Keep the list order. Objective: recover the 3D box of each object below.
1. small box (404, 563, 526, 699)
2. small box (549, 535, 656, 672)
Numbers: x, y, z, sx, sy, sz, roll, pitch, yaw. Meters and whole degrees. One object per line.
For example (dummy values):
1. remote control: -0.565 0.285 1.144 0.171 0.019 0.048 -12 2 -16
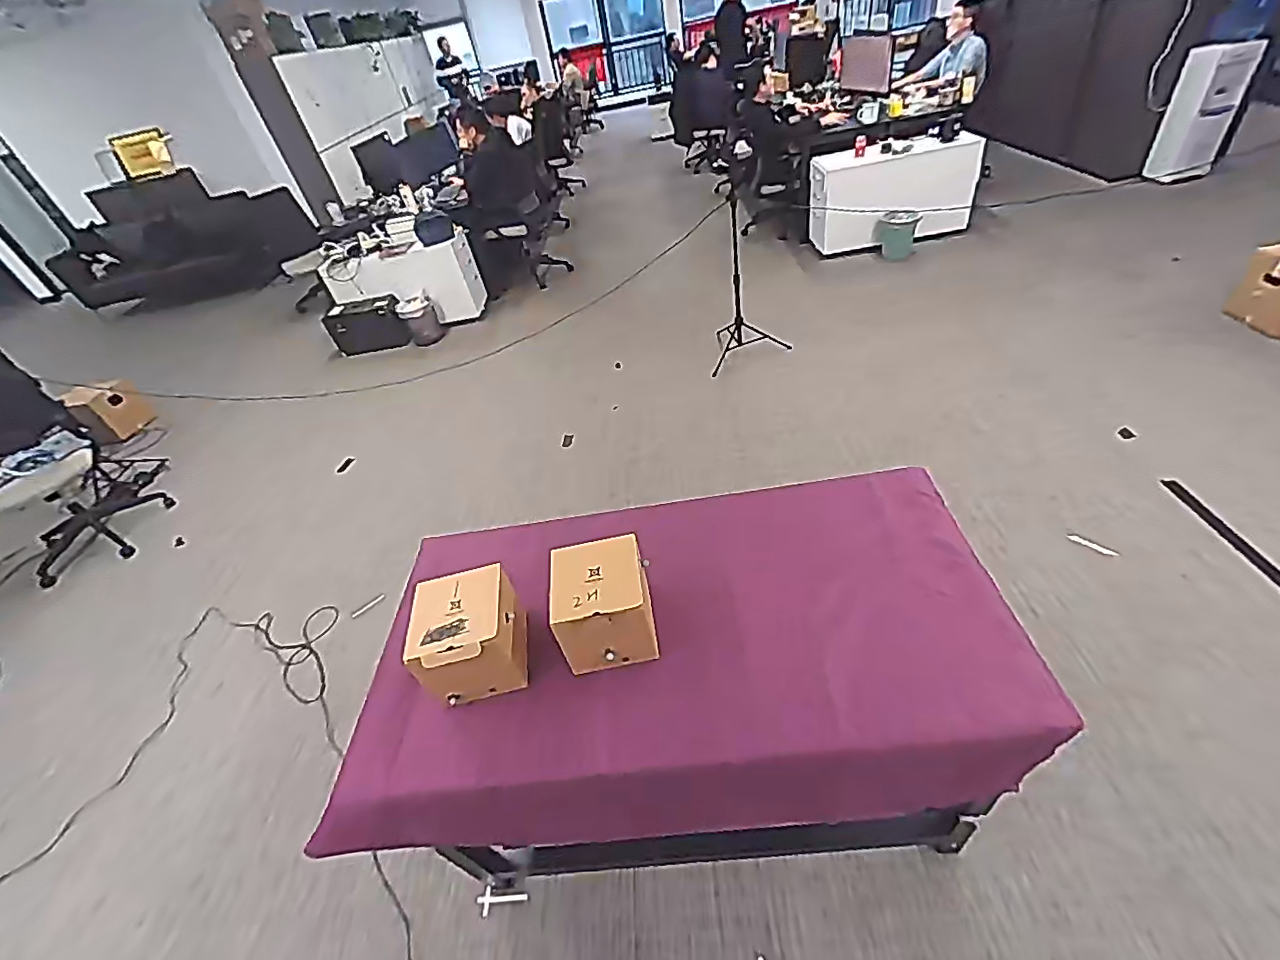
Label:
1. small box: -0.319 0.292 1.025 0.168 0.176 0.179 -14 40 -1
2. small box: -0.069 0.234 1.026 0.168 0.176 0.179 -11 41 2
